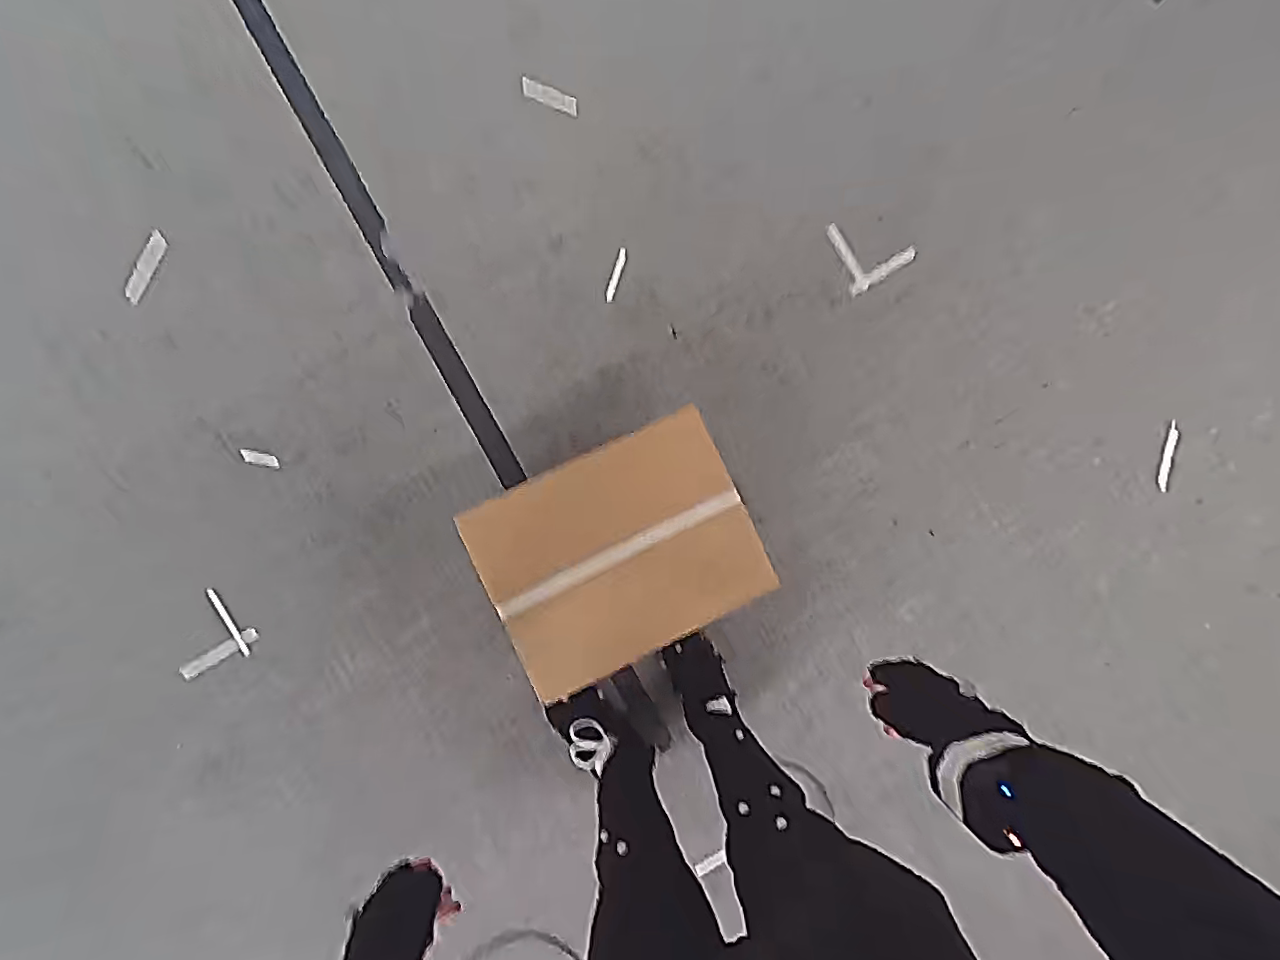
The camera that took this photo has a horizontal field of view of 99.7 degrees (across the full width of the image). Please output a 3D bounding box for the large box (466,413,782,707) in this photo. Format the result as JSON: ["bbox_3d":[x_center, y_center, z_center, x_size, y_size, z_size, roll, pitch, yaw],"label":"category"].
[{"bbox_3d":[-0.033,0.123,0.968,0.408,0.320,0.320,-26,91,-6],"label":"large box"}]
